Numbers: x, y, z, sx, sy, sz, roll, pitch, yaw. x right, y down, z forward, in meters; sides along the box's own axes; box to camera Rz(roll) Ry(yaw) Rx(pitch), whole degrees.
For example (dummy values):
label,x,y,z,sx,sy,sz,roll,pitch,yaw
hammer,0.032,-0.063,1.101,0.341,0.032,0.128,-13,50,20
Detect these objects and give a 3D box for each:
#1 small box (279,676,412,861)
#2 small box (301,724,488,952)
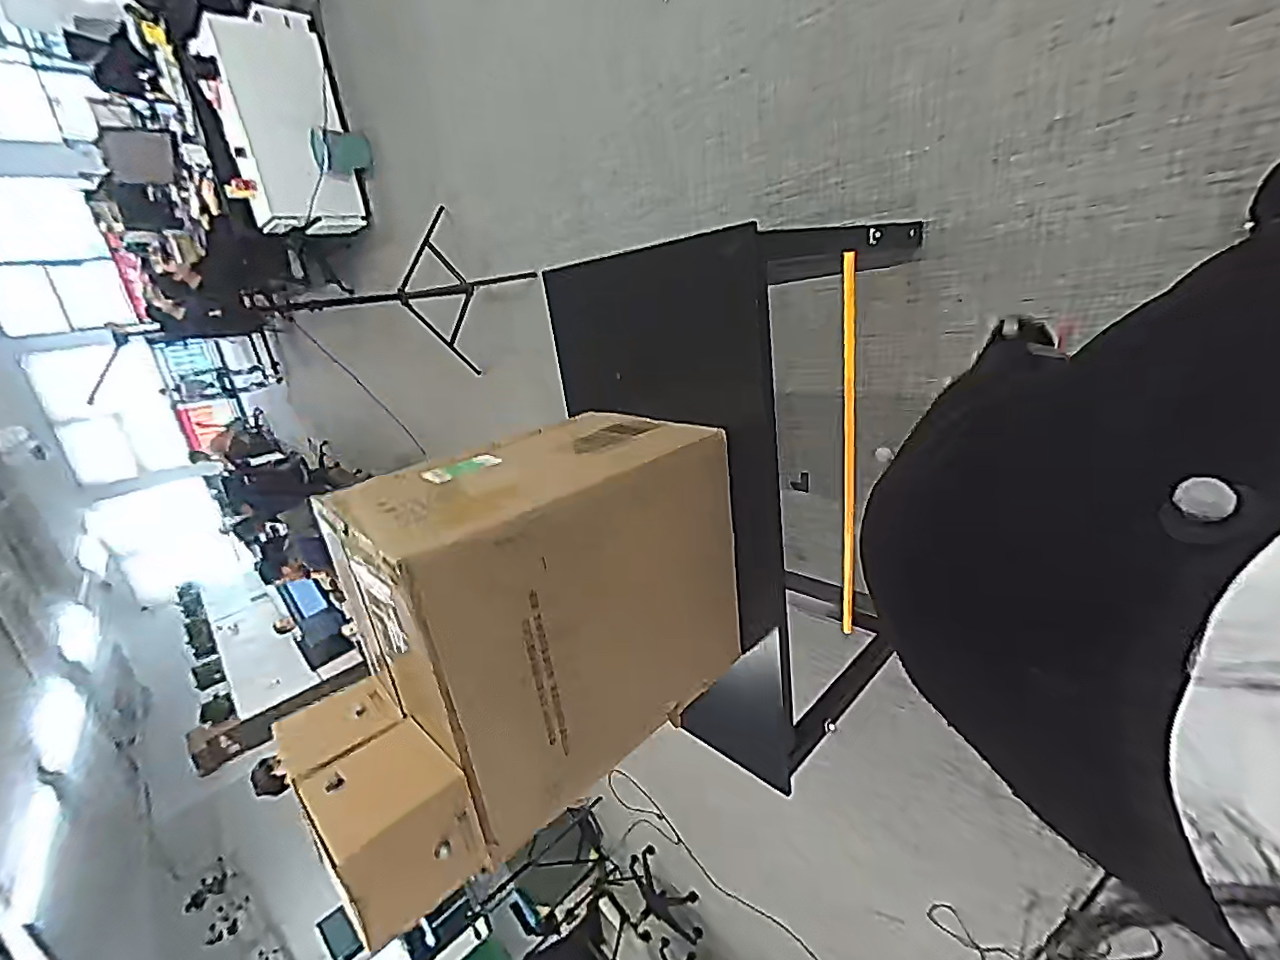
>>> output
label,x,y,z,sx,sy,sz,roll,pitch,yaw
small box,-0.474,0.471,0.910,0.168,0.176,0.179,15,118,47
small box,-0.341,0.481,0.762,0.179,0.176,0.168,11,116,44
